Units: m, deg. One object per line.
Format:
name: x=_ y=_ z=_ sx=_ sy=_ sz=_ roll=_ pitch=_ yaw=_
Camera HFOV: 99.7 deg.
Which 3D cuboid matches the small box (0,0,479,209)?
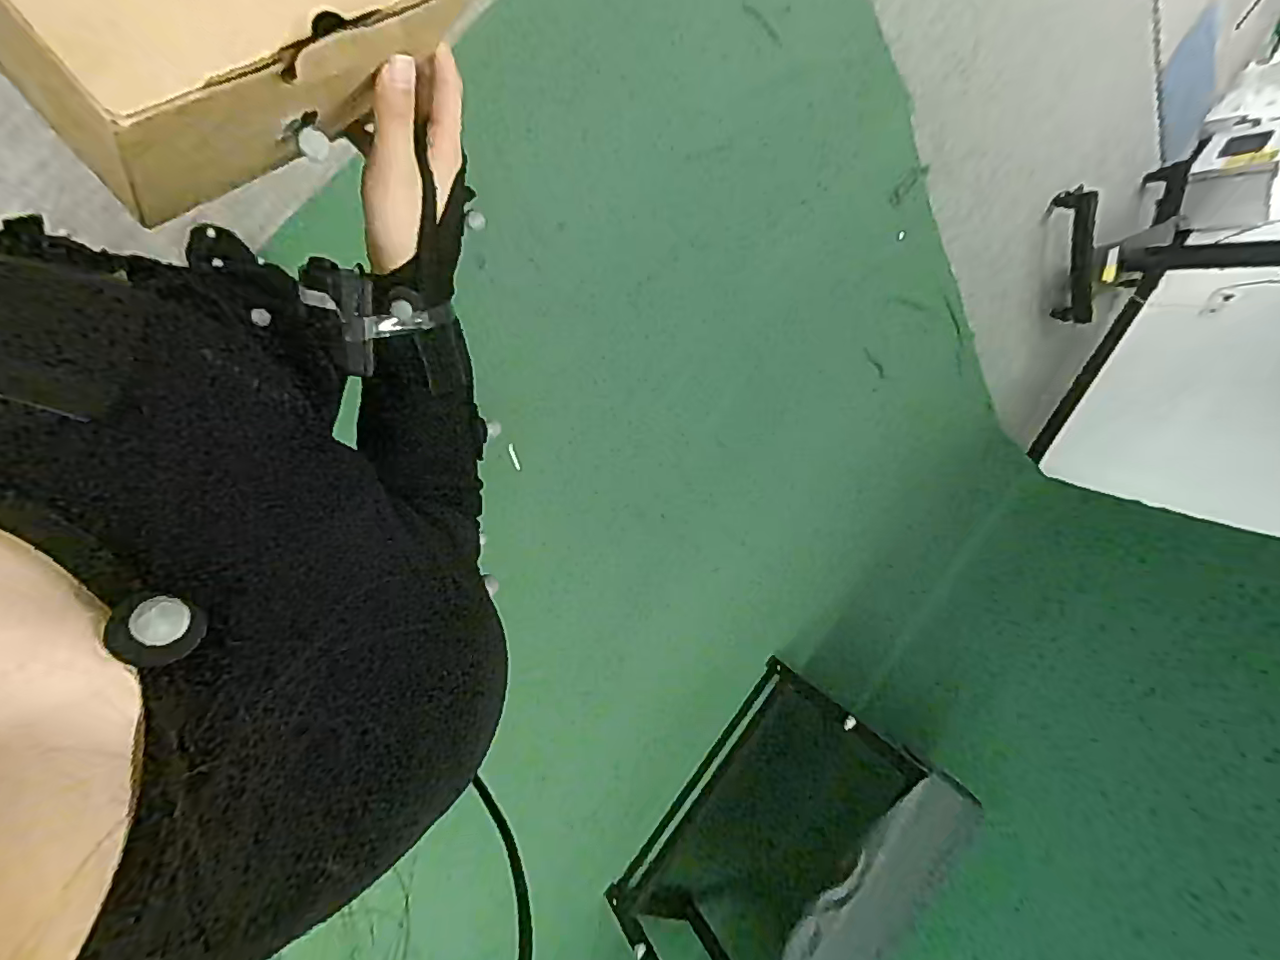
small box: x=-0.209 y=-0.239 z=0.229 sx=0.168 sy=0.176 sz=0.179 roll=-45 pitch=123 yaw=-24
